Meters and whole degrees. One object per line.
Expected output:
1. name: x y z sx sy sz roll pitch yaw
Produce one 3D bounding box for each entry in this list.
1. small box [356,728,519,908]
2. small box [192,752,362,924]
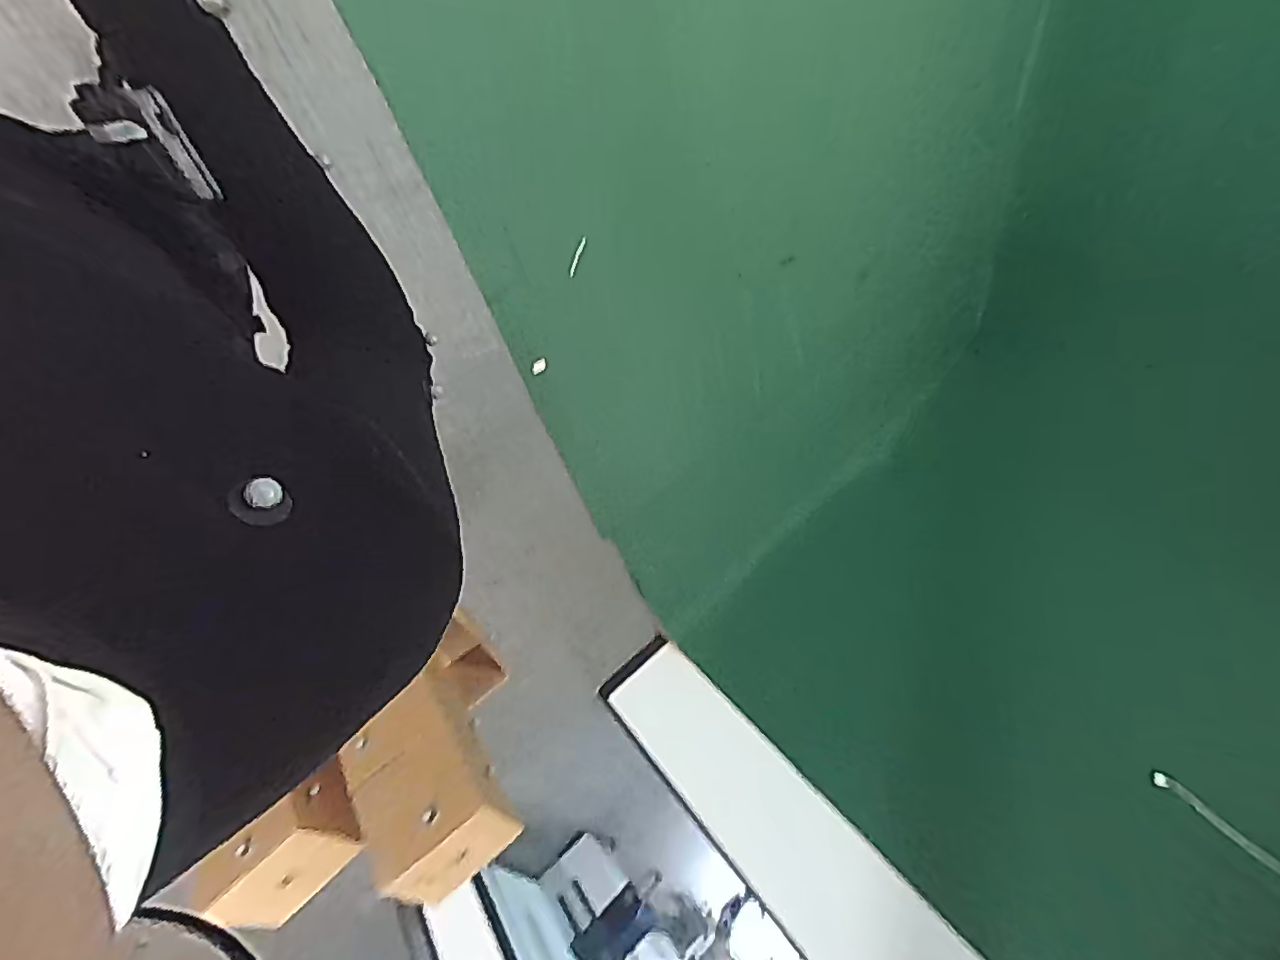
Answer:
1. small box: -0.336 0.551 0.896 0.179 0.176 0.168 -33 135 -16
2. small box: -0.623 0.607 0.927 0.179 0.176 0.168 -39 137 -14
